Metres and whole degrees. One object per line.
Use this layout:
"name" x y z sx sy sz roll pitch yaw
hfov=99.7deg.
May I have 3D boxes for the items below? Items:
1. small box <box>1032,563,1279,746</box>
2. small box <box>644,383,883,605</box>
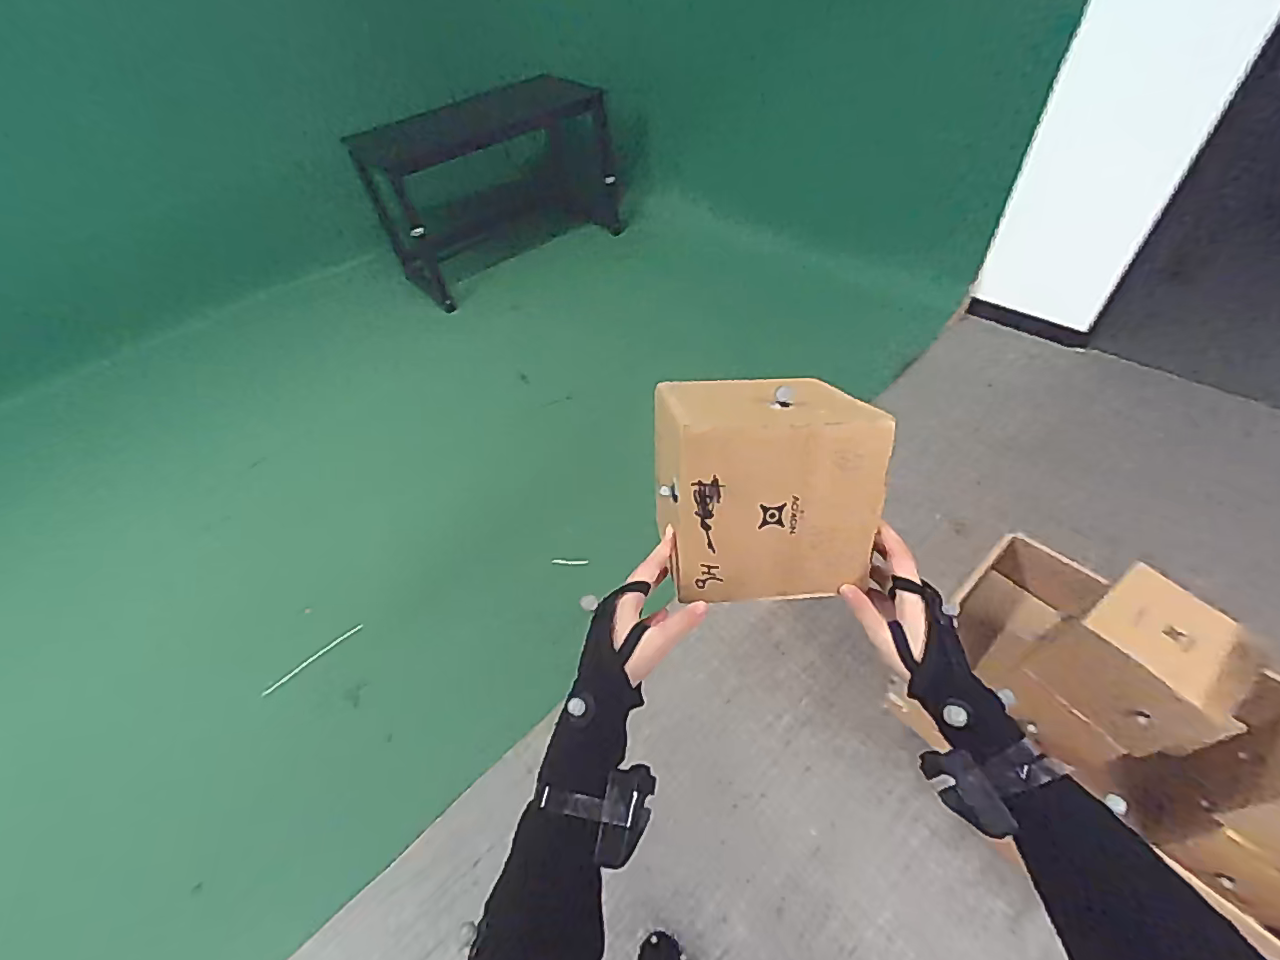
"small box" 0.738 0.262 0.792 0.168 0.176 0.179 -30 55 -19
"small box" 0.101 0.001 0.526 0.179 0.168 0.176 -3 20 -5
